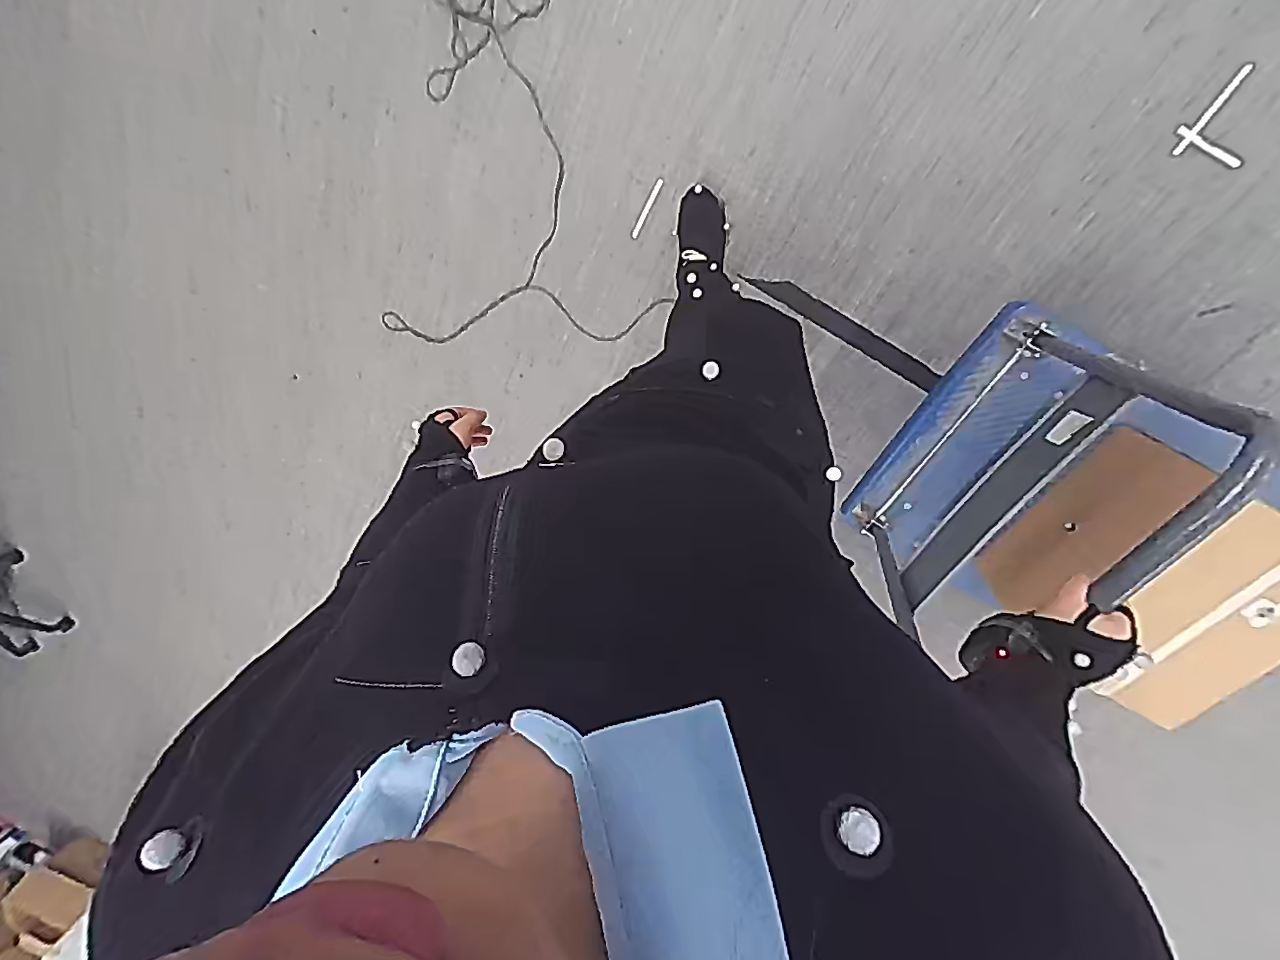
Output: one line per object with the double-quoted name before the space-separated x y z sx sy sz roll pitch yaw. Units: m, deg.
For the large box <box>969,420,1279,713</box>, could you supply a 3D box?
"large box" 0.961 0.157 1.067 0.320 0.320 0.408 30 116 -2
